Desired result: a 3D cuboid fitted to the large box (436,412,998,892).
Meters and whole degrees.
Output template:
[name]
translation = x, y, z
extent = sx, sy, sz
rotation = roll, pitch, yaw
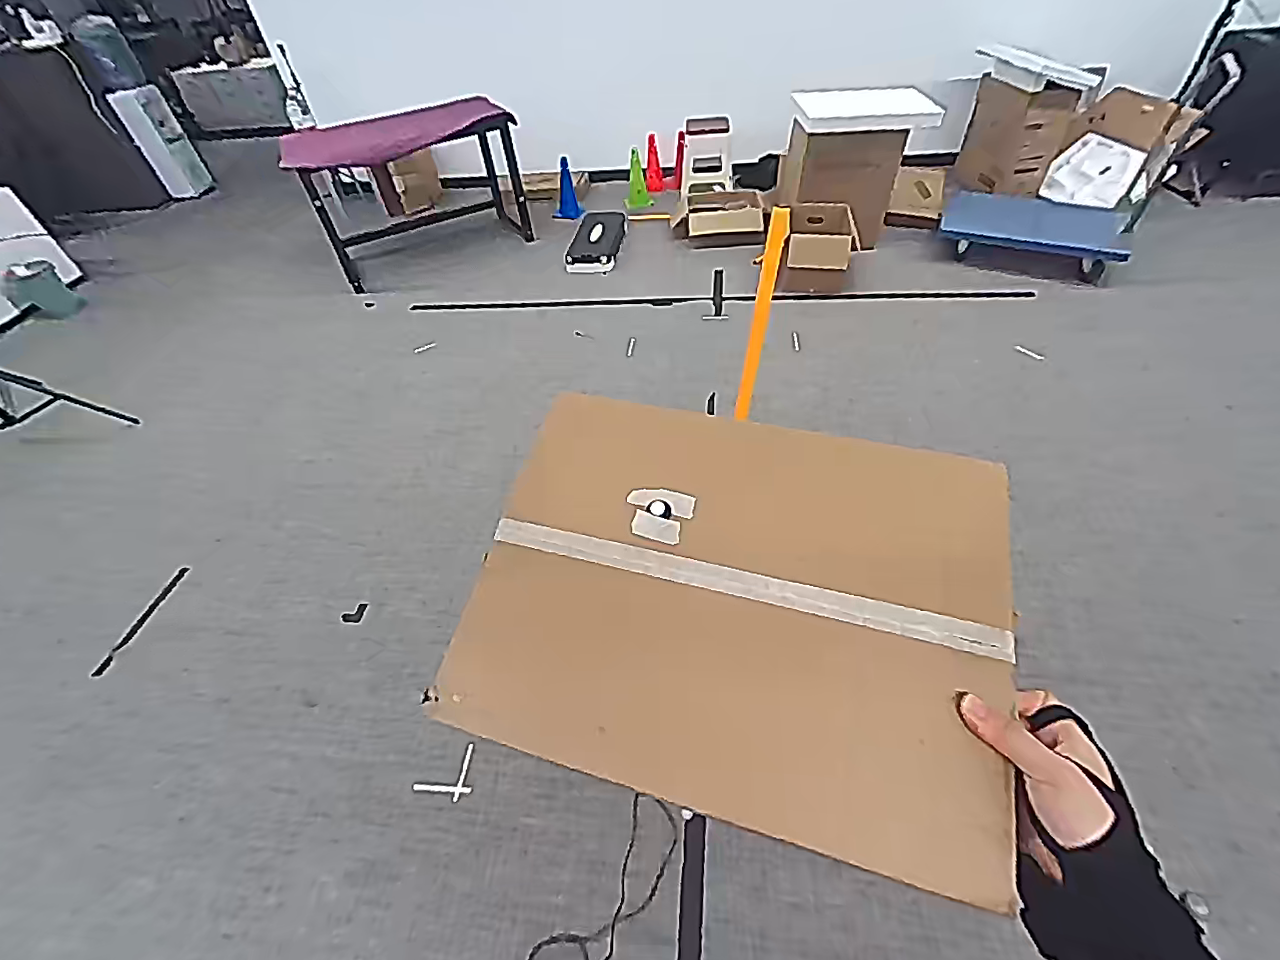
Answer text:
[large box]
translation = 0.088, 0.161, 0.568
extent = 0.408, 0.320, 0.320
rotation = 10, 62, 15
